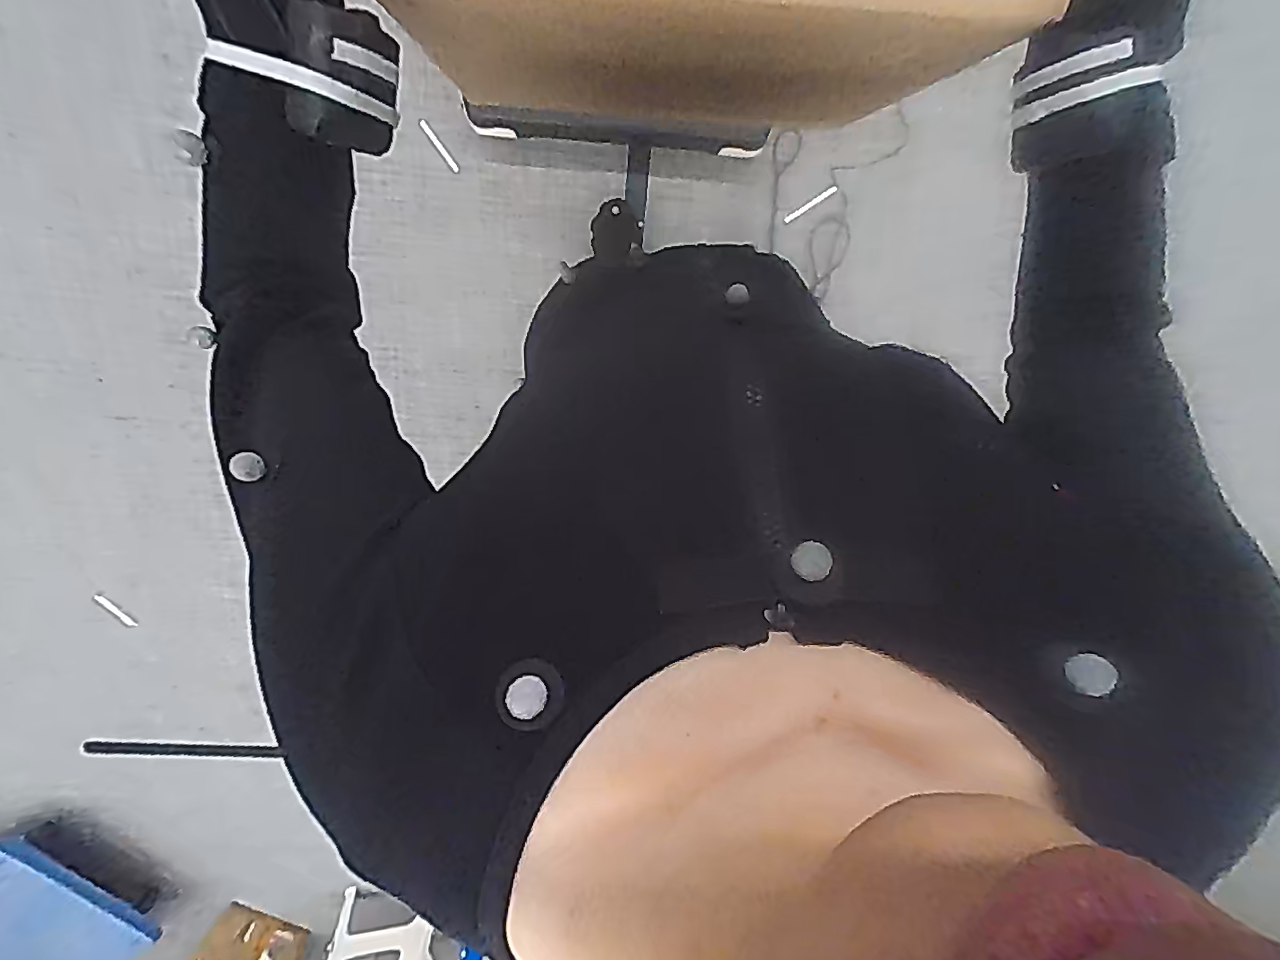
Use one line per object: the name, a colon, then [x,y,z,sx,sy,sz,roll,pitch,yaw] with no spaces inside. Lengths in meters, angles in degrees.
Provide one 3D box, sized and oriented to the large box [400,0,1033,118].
large box: [0.035,-0.481,0.387,0.408,0.320,0.320,0,113,-5]
